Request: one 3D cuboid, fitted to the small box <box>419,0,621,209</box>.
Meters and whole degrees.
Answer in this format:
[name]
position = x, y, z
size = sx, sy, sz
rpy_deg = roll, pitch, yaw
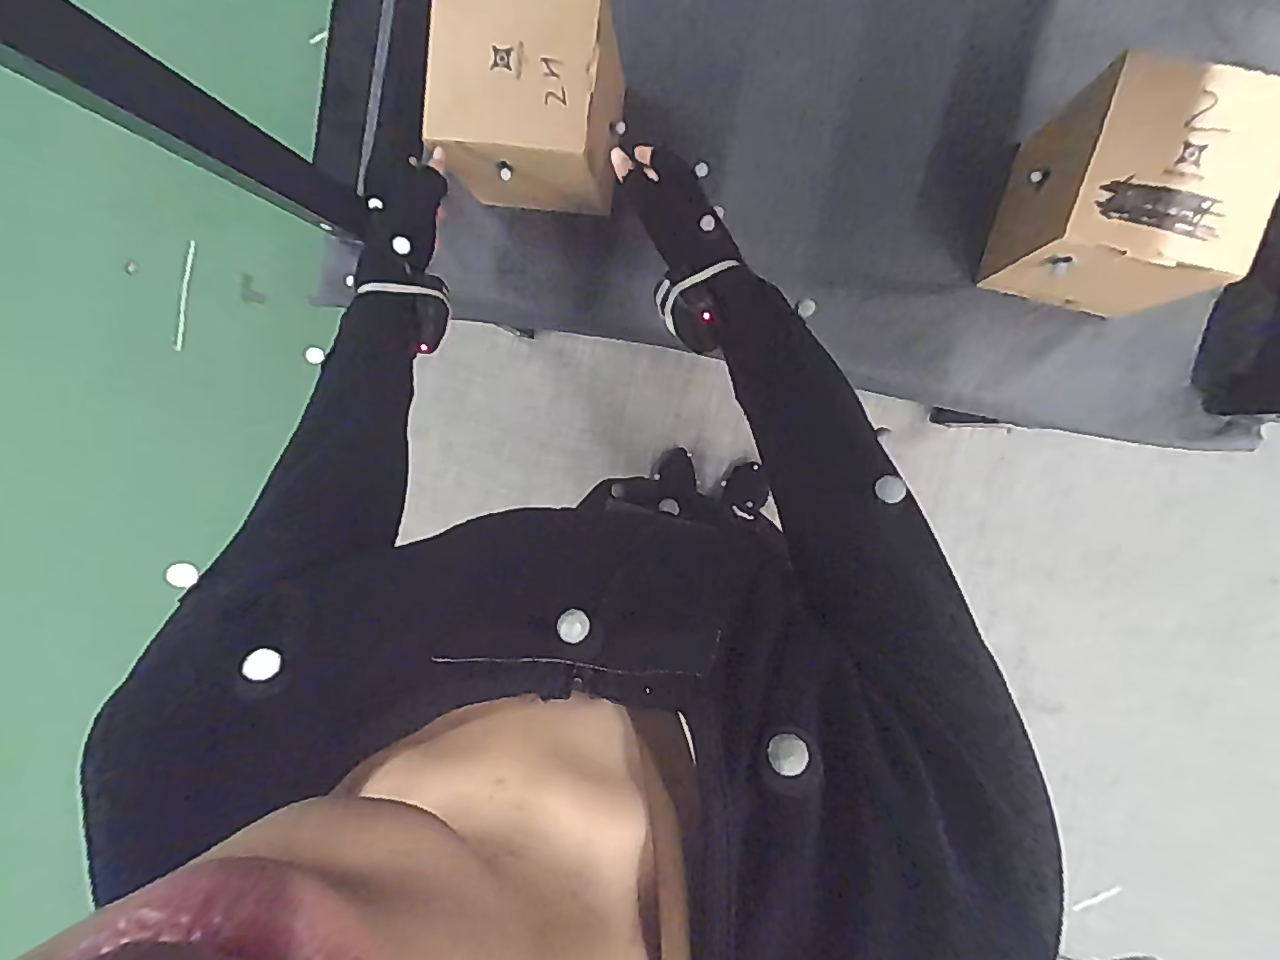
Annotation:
[small box]
position = -0.127, -0.433, 0.624
size = 0.179, 0.176, 0.168
rpy_deg = 8, 98, 4
